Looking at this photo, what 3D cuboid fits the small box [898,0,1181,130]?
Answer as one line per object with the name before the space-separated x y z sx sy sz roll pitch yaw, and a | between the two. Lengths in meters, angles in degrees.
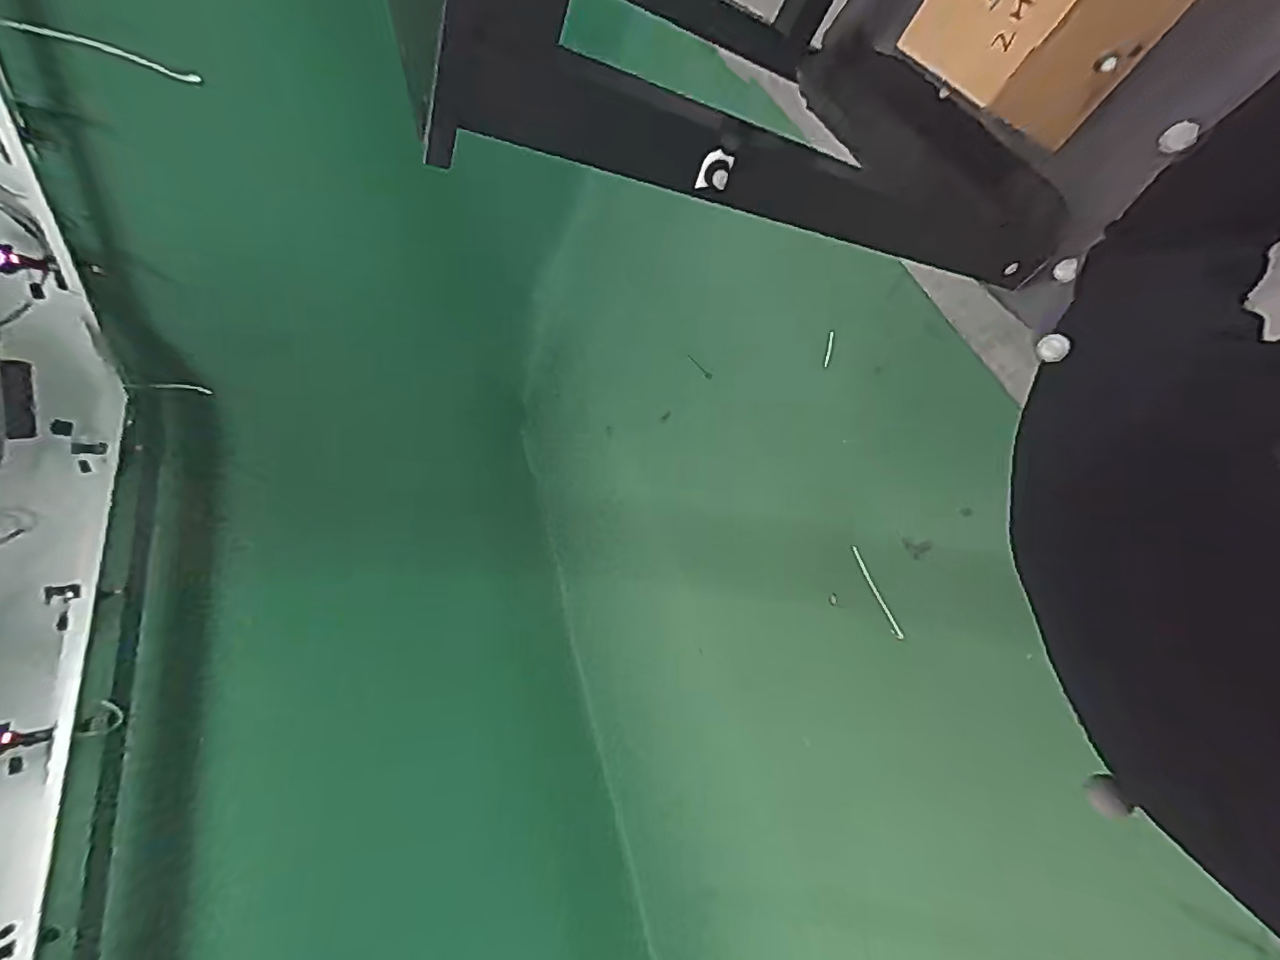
small box | 0.444 -0.533 0.610 0.168 0.176 0.179 -57 46 45
